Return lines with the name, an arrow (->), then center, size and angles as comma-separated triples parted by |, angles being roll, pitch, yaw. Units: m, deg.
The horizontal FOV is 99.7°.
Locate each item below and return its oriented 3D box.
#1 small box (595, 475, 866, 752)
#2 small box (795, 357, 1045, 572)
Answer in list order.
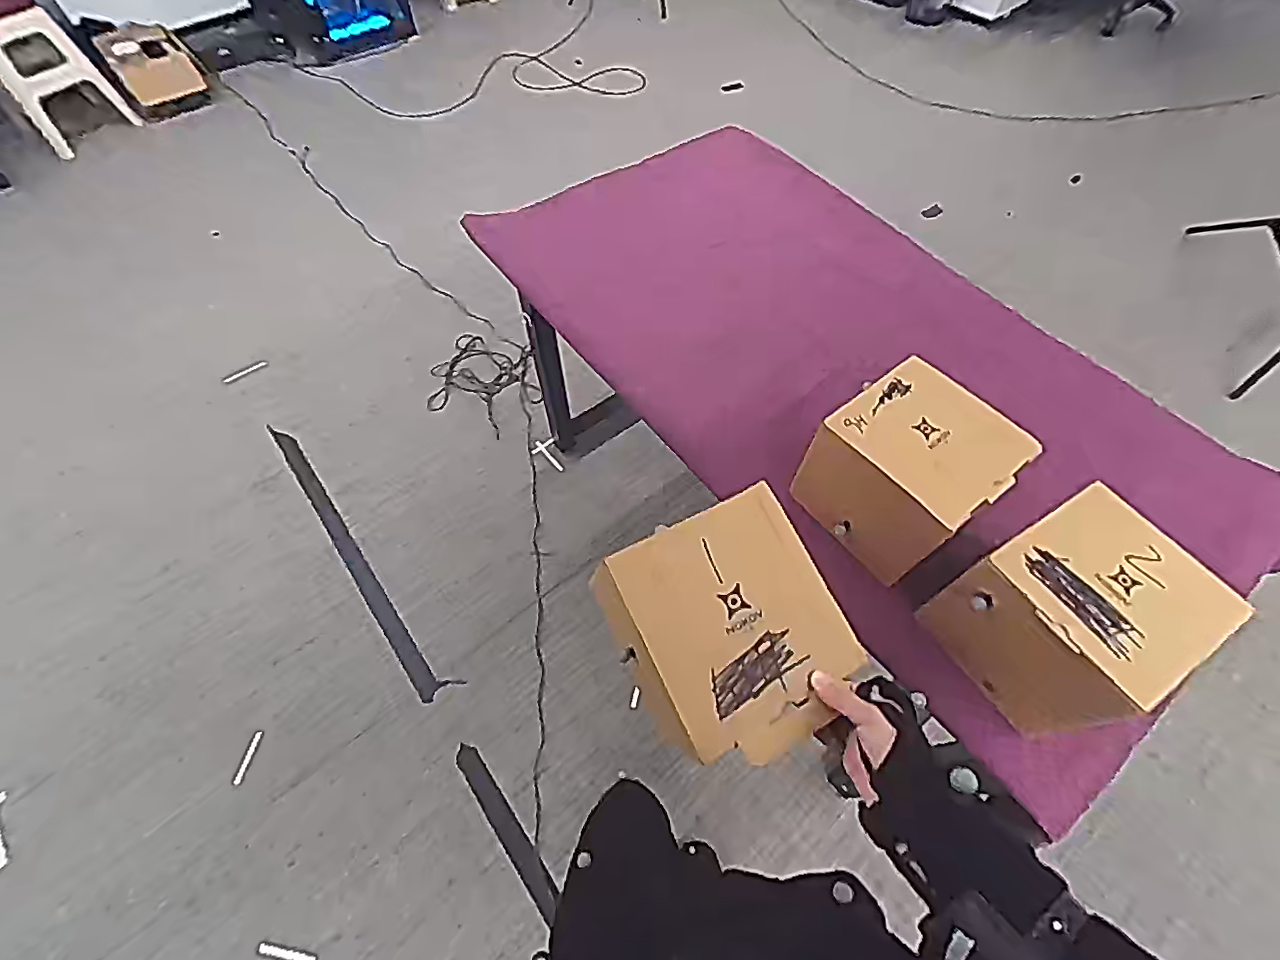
small box -> 0.068, 0.123, 0.518 | 0.168, 0.176, 0.179 | -24, 78, -16
small box -> 0.322, -0.008, 0.660 | 0.168, 0.176, 0.179 | -34, 67, -18
